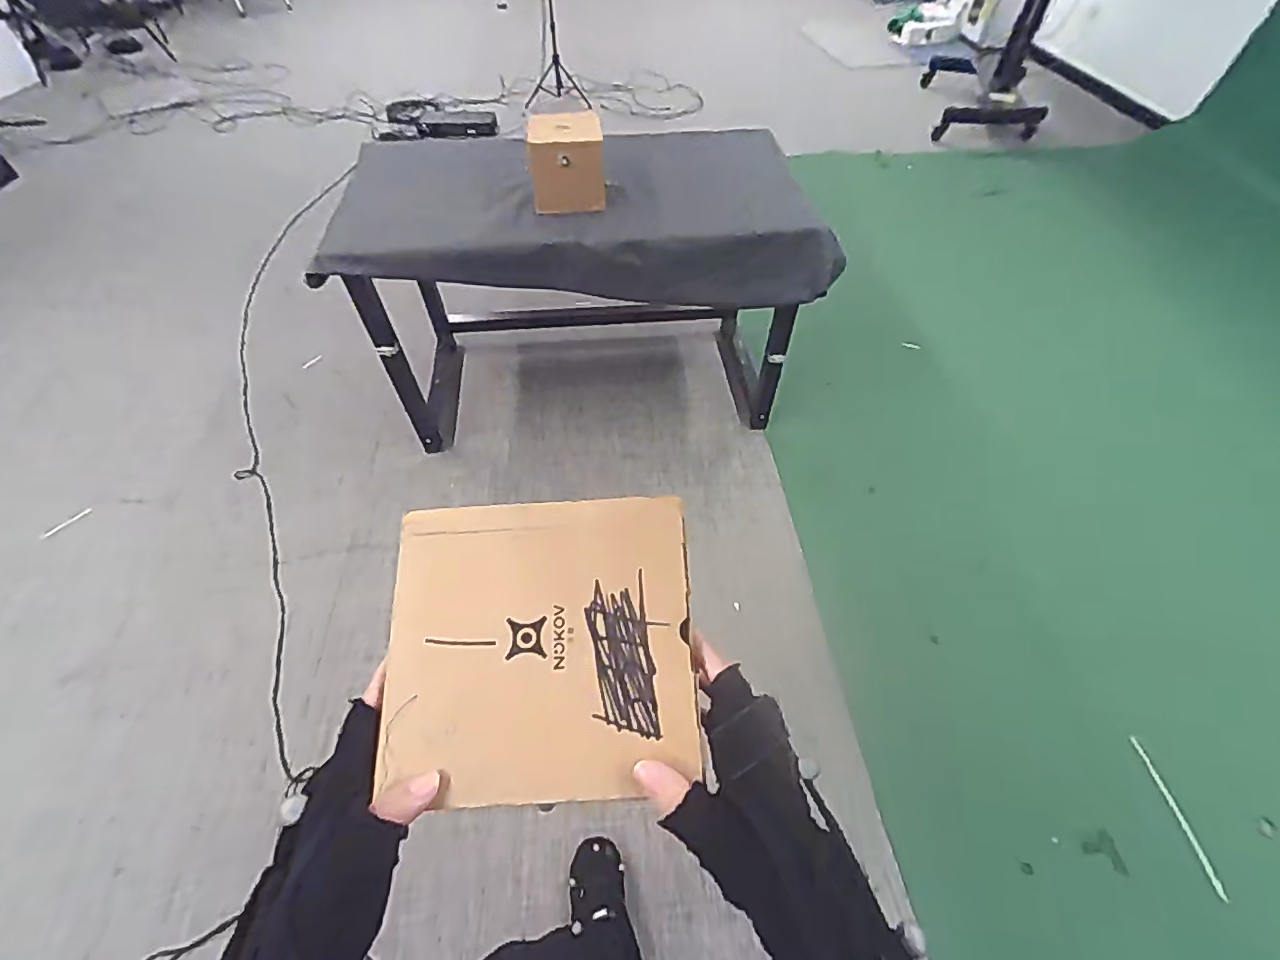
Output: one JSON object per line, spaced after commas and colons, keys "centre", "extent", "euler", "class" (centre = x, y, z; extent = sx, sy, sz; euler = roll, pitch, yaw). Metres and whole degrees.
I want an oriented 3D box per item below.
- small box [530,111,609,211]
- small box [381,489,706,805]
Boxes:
{"centre": [-0.172, -0.786, 1.340], "extent": [0.179, 0.176, 0.168], "euler": [-4, 54, -5], "class": "small box"}
{"centre": [-0.059, 0.114, 0.389], "extent": [0.179, 0.176, 0.168], "euler": [-5, 70, -3], "class": "small box"}
